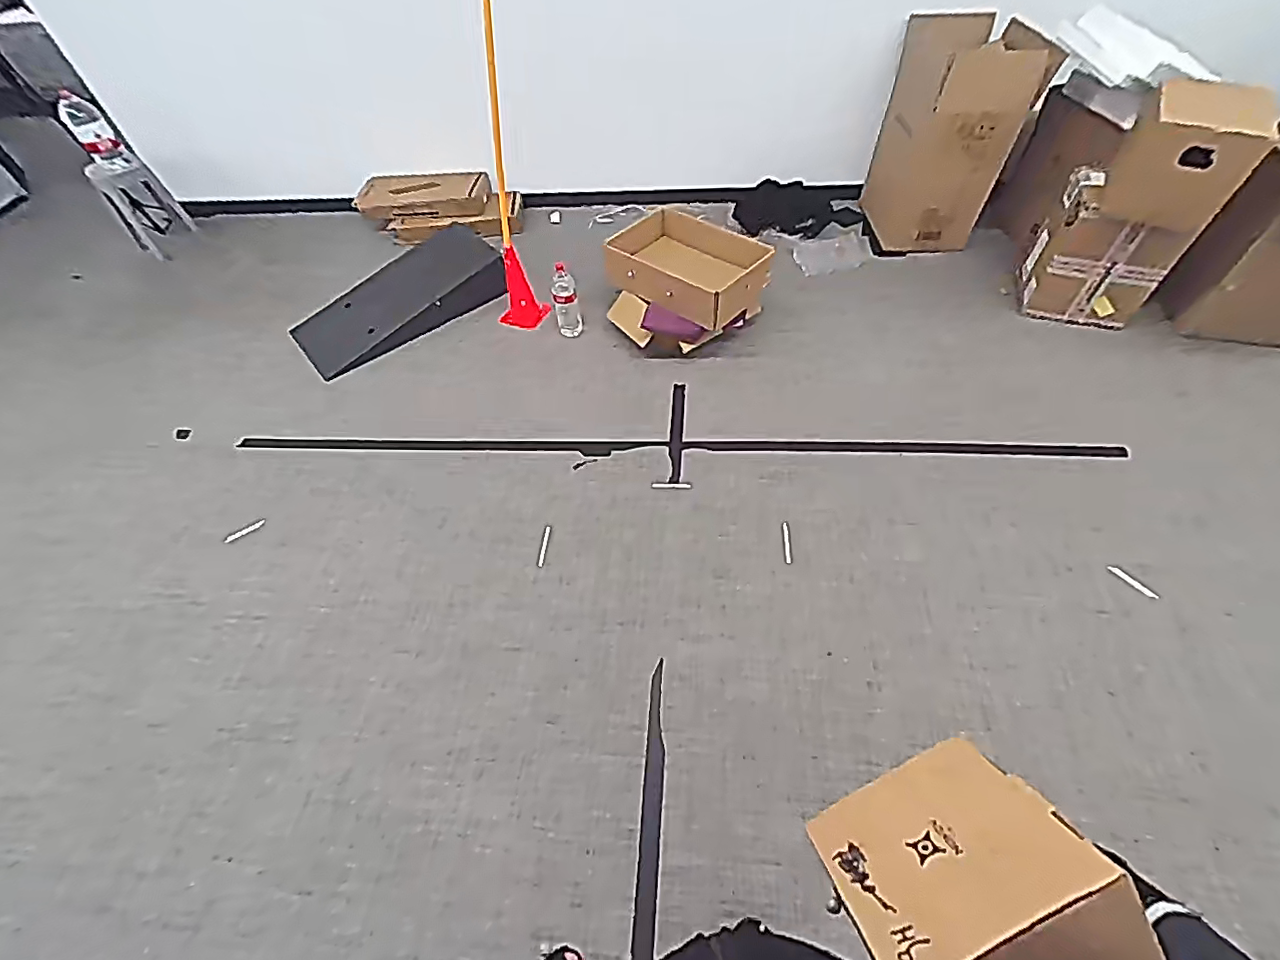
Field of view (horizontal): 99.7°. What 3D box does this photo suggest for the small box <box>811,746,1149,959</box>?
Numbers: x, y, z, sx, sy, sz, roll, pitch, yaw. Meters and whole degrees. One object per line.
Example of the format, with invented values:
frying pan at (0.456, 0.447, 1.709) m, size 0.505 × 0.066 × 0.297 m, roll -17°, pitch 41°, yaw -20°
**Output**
small box at (0.282, 0.377, 0.455) m, size 0.179 × 0.168 × 0.176 m, roll -27°, pitch 96°, yaw -3°
